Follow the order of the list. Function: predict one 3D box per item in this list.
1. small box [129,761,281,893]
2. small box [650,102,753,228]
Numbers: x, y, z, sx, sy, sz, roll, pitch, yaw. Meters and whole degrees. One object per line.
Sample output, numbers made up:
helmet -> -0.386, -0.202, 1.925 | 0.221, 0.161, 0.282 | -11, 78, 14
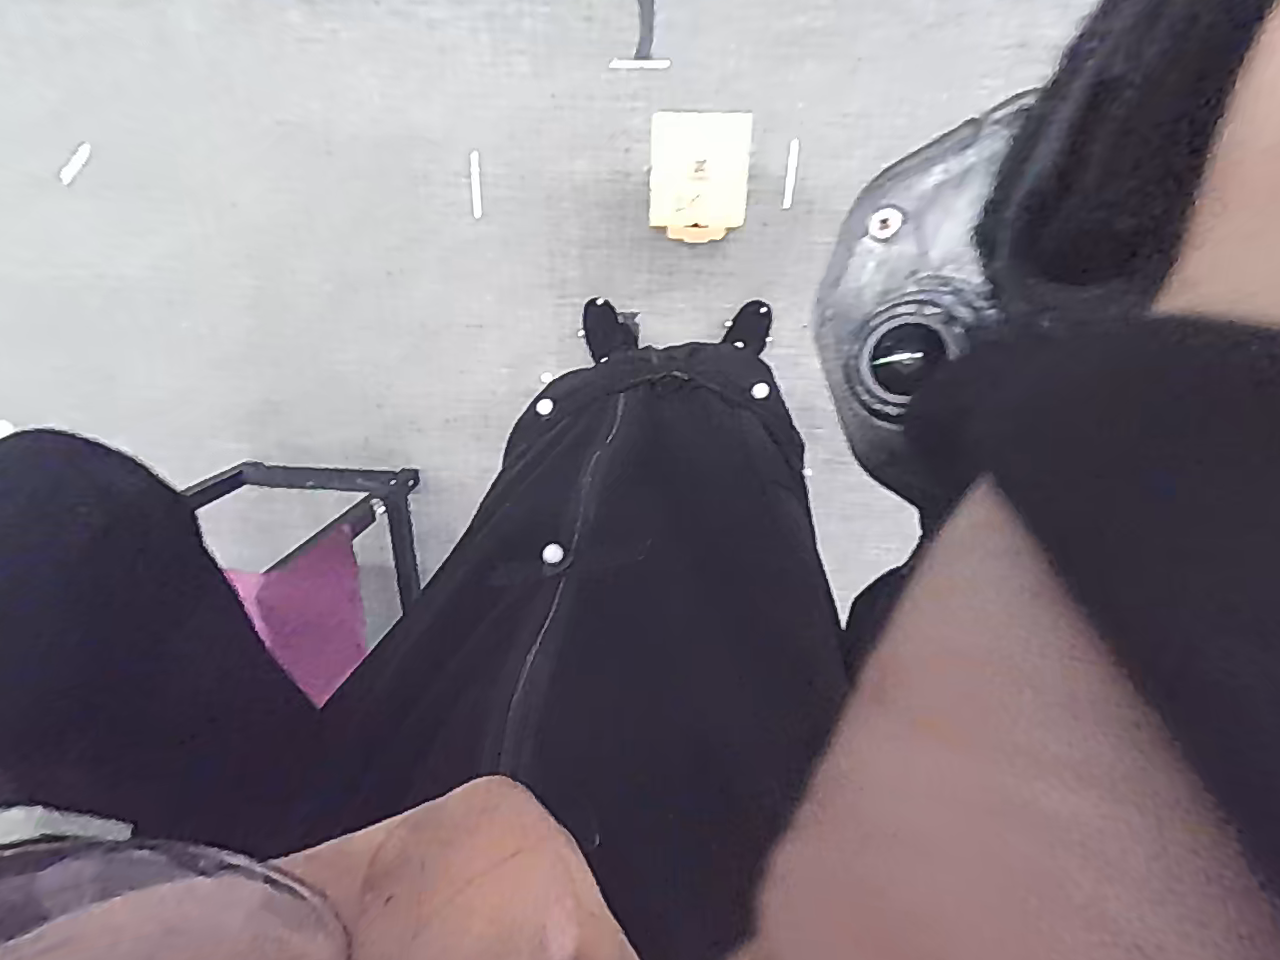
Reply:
small box -> -0.920, 0.742, 1.164 | 0.168, 0.176, 0.179 | -1, 112, 4
small box -> 0.105, -0.565, 0.988 | 0.168, 0.176, 0.179 | 2, 113, 2
